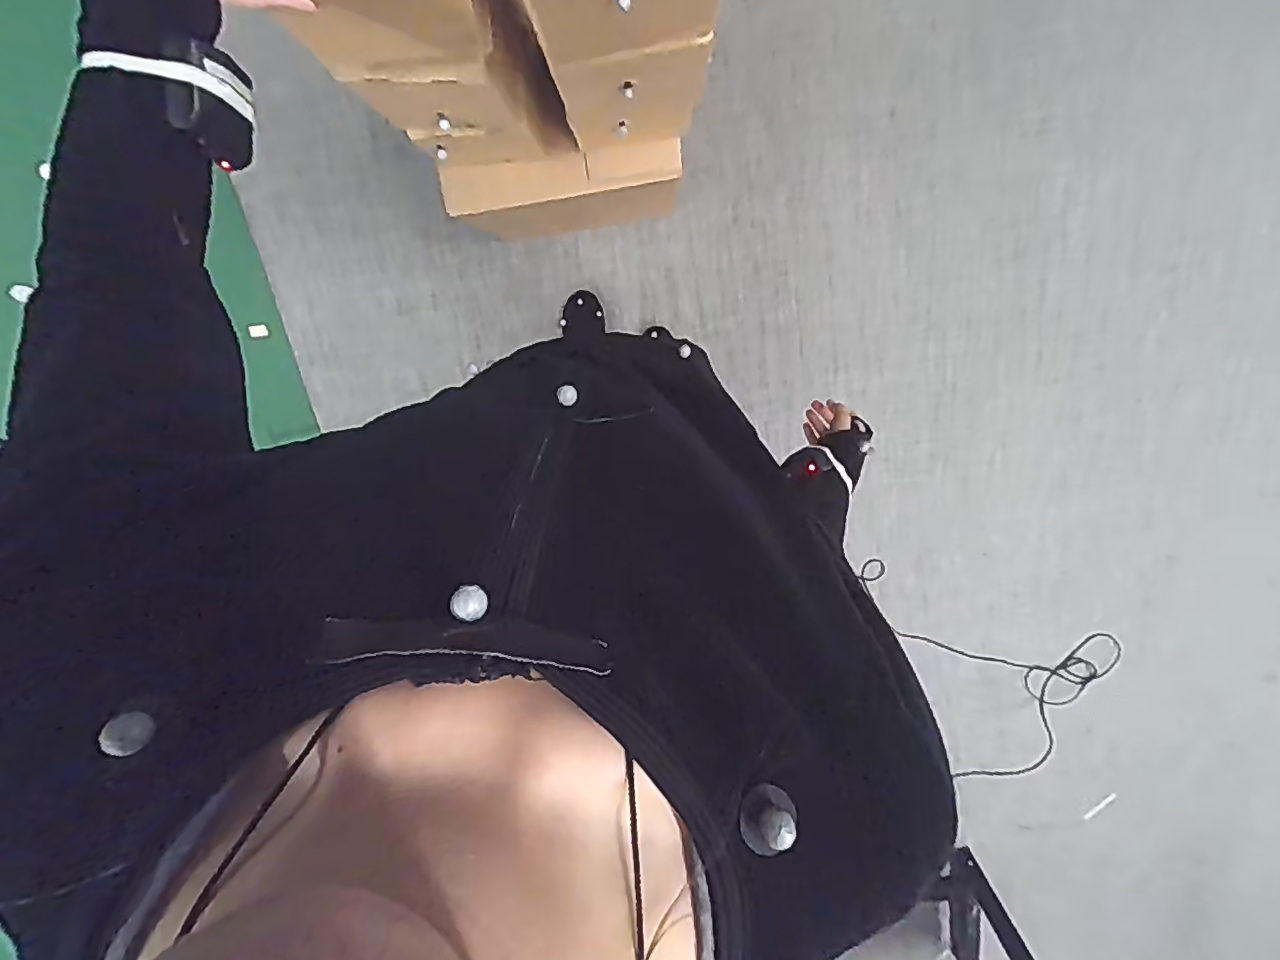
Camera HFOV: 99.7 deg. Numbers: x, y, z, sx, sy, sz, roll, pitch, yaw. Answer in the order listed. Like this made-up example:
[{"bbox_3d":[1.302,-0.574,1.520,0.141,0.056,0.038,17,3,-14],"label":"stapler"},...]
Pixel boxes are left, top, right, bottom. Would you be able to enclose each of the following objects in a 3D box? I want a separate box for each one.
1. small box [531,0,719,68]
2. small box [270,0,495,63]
[{"bbox_3d":[-0.021,-0.494,0.465,0.179,0.176,0.168,-9,108,4],"label":"small box"},{"bbox_3d":[-0.237,-0.484,0.449,0.179,0.176,0.168,-4,101,2],"label":"small box"}]
